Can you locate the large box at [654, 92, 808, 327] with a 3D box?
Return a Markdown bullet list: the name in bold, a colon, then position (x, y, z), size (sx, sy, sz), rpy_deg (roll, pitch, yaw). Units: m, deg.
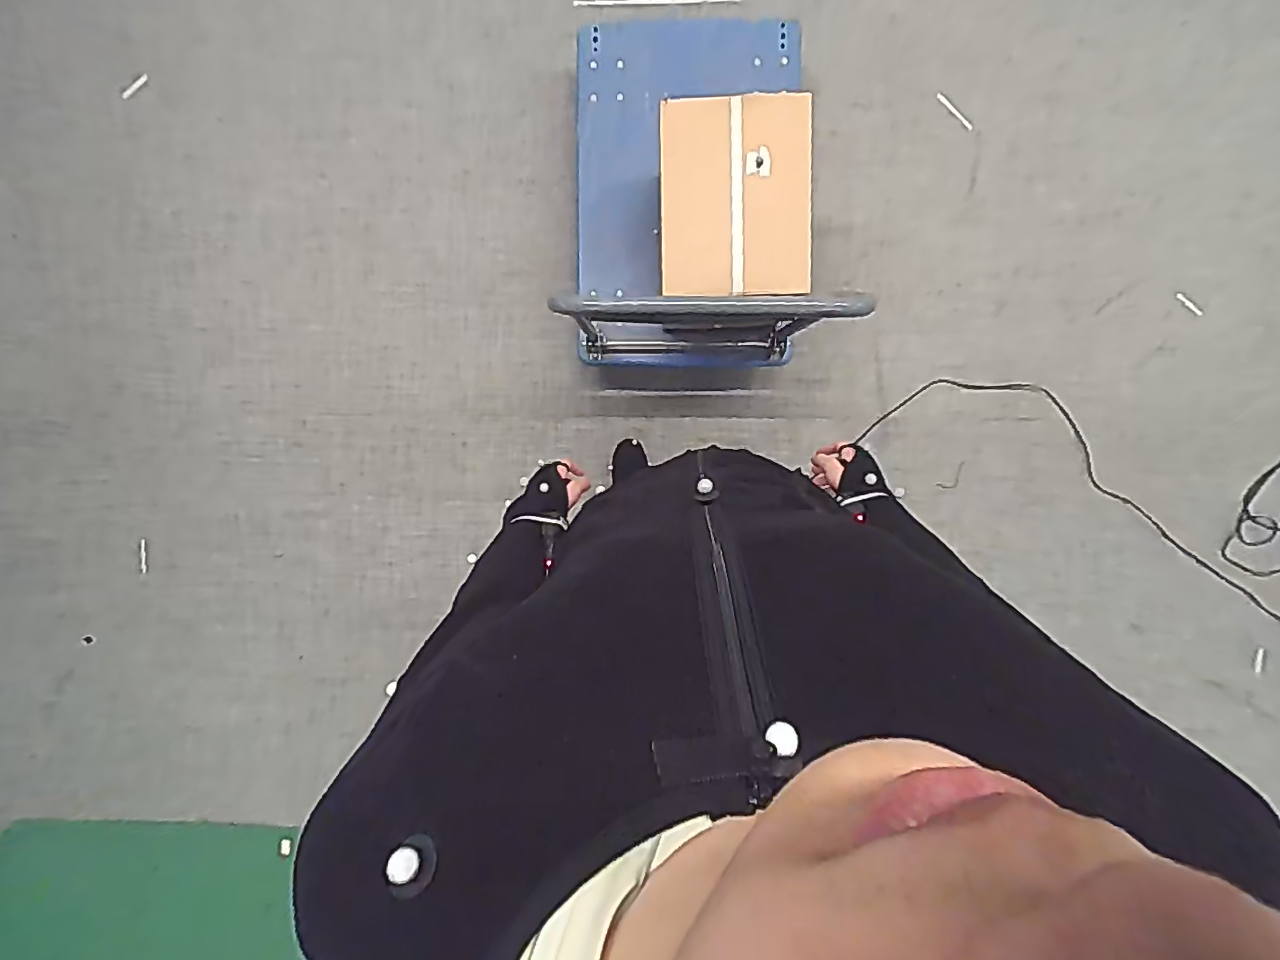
- **large box**: position (0.194, -0.596, 1.264), size (0.320, 0.320, 0.408), rpy_deg (-1, 94, 1)
